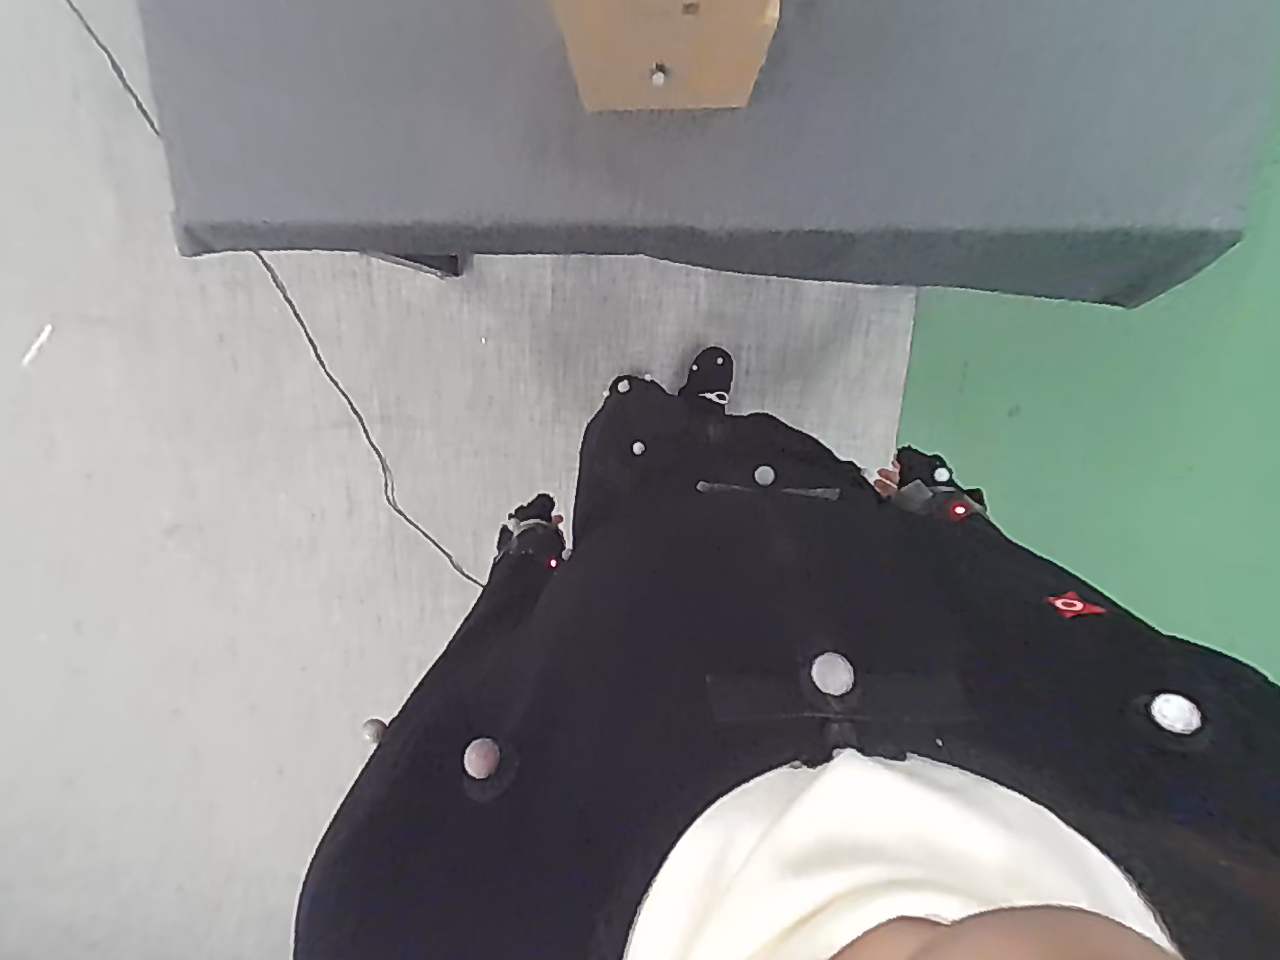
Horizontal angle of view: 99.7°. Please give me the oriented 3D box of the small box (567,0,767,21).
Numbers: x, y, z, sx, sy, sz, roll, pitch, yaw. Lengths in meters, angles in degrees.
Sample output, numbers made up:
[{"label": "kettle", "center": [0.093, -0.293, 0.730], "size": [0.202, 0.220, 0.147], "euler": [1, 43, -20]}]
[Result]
[{"label": "small box", "center": [0.015, -0.423, 0.332], "size": [0.168, 0.176, 0.179], "euler": [0, 104, 2]}]
